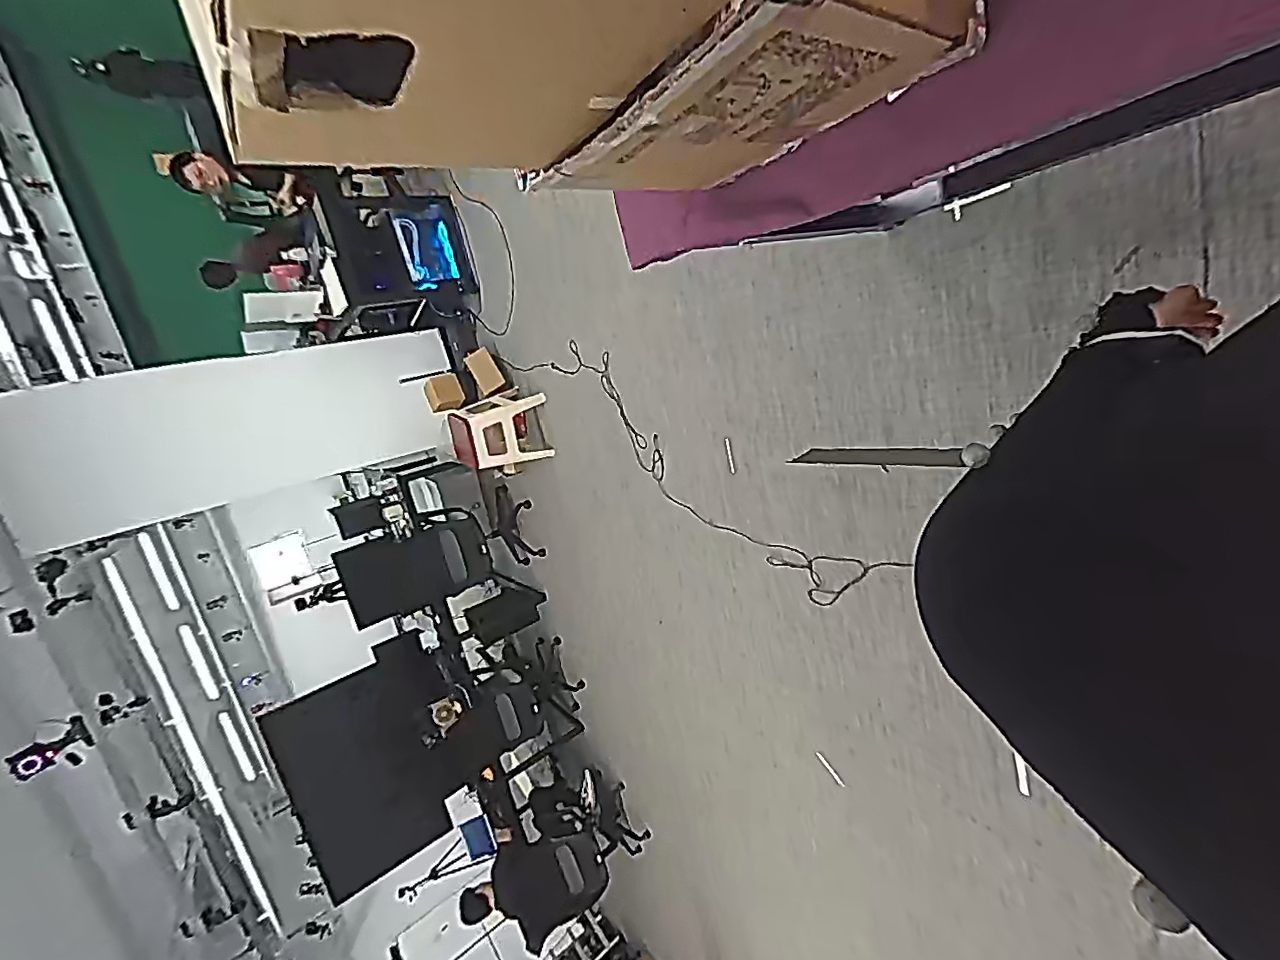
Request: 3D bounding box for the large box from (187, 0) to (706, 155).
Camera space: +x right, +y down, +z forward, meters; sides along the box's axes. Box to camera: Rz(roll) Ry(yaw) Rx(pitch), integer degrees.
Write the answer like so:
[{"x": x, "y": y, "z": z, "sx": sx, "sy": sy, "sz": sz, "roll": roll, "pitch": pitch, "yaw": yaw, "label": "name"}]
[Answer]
[{"x": -0.174, "y": -0.504, "z": 0.371, "sx": 0.320, "sy": 0.320, "sz": 0.408, "roll": 4, "pitch": 112, "yaw": 56, "label": "large box"}]
